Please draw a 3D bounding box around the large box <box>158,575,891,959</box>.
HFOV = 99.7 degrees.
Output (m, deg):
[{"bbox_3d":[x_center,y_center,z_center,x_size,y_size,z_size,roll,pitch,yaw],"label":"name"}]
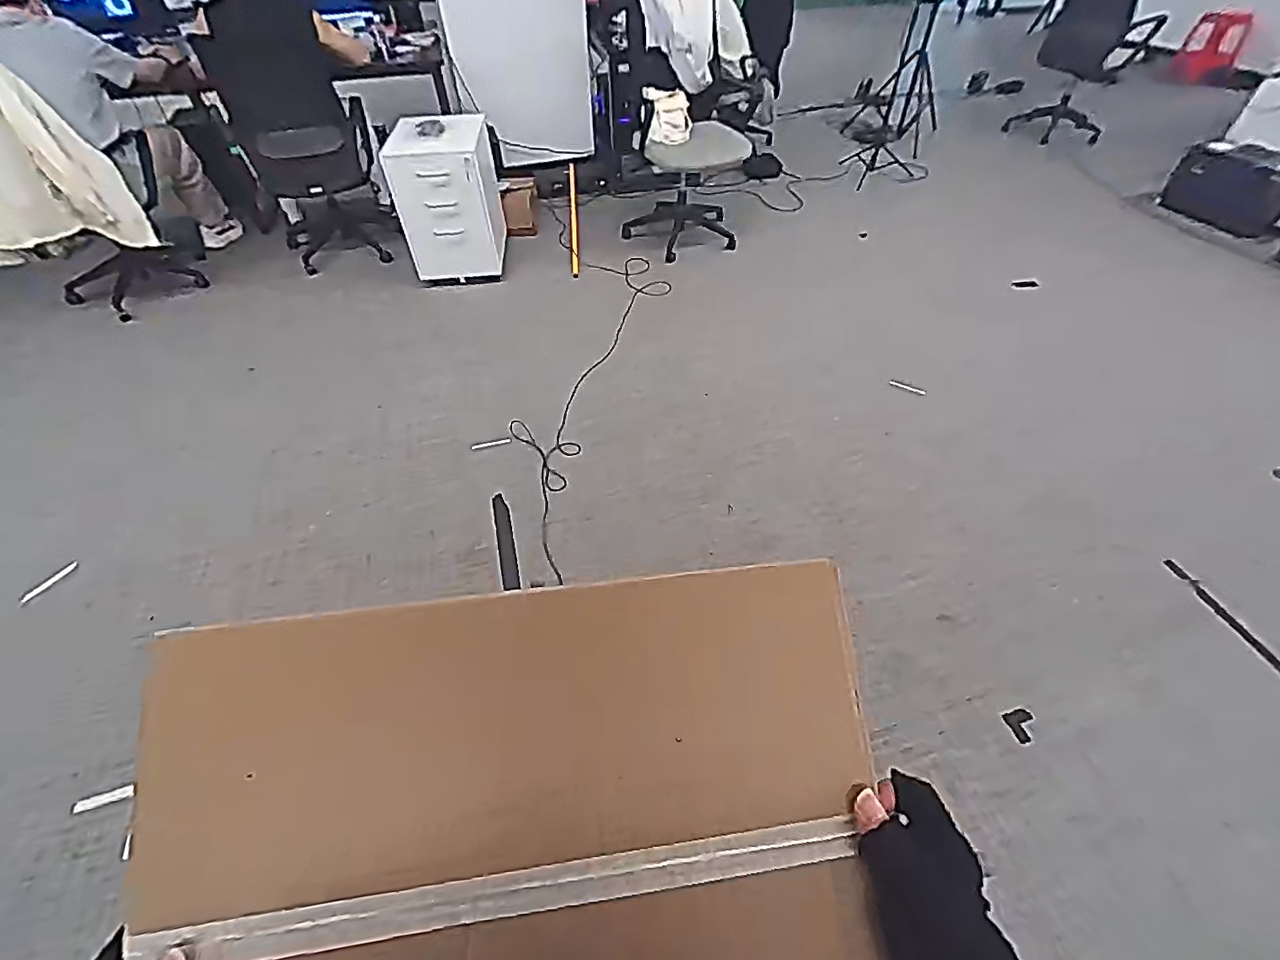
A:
[{"bbox_3d":[-0.069,0.264,0.452,0.408,0.320,0.320,-6,77,-7],"label":"large box"}]
